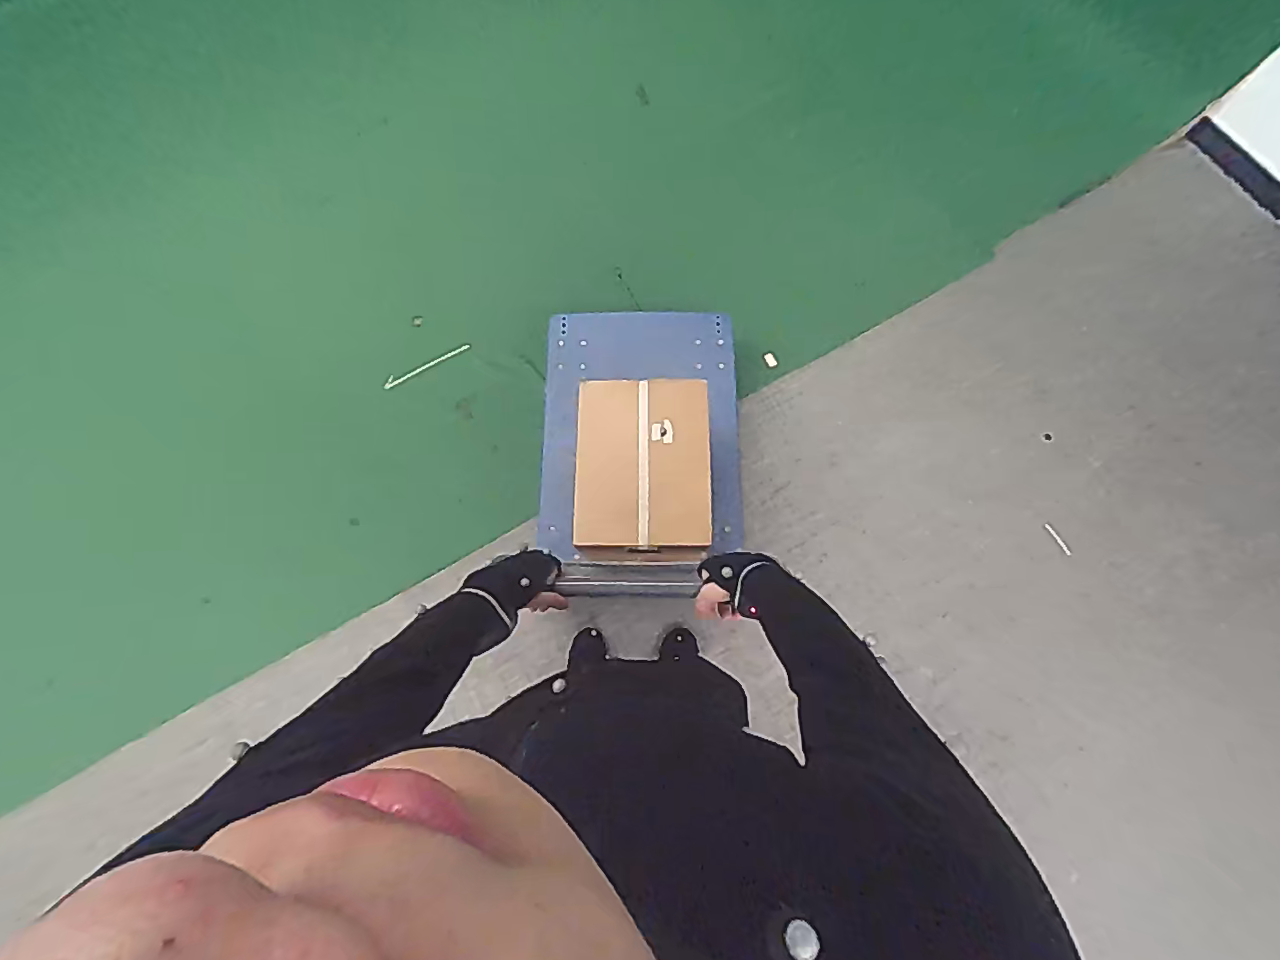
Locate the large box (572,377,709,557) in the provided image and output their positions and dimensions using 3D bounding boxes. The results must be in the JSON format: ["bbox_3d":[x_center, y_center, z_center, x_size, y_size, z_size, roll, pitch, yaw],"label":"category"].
[{"bbox_3d":[0.005,-0.018,1.413,0.320,0.320,0.408,1,74,1],"label":"large box"}]
